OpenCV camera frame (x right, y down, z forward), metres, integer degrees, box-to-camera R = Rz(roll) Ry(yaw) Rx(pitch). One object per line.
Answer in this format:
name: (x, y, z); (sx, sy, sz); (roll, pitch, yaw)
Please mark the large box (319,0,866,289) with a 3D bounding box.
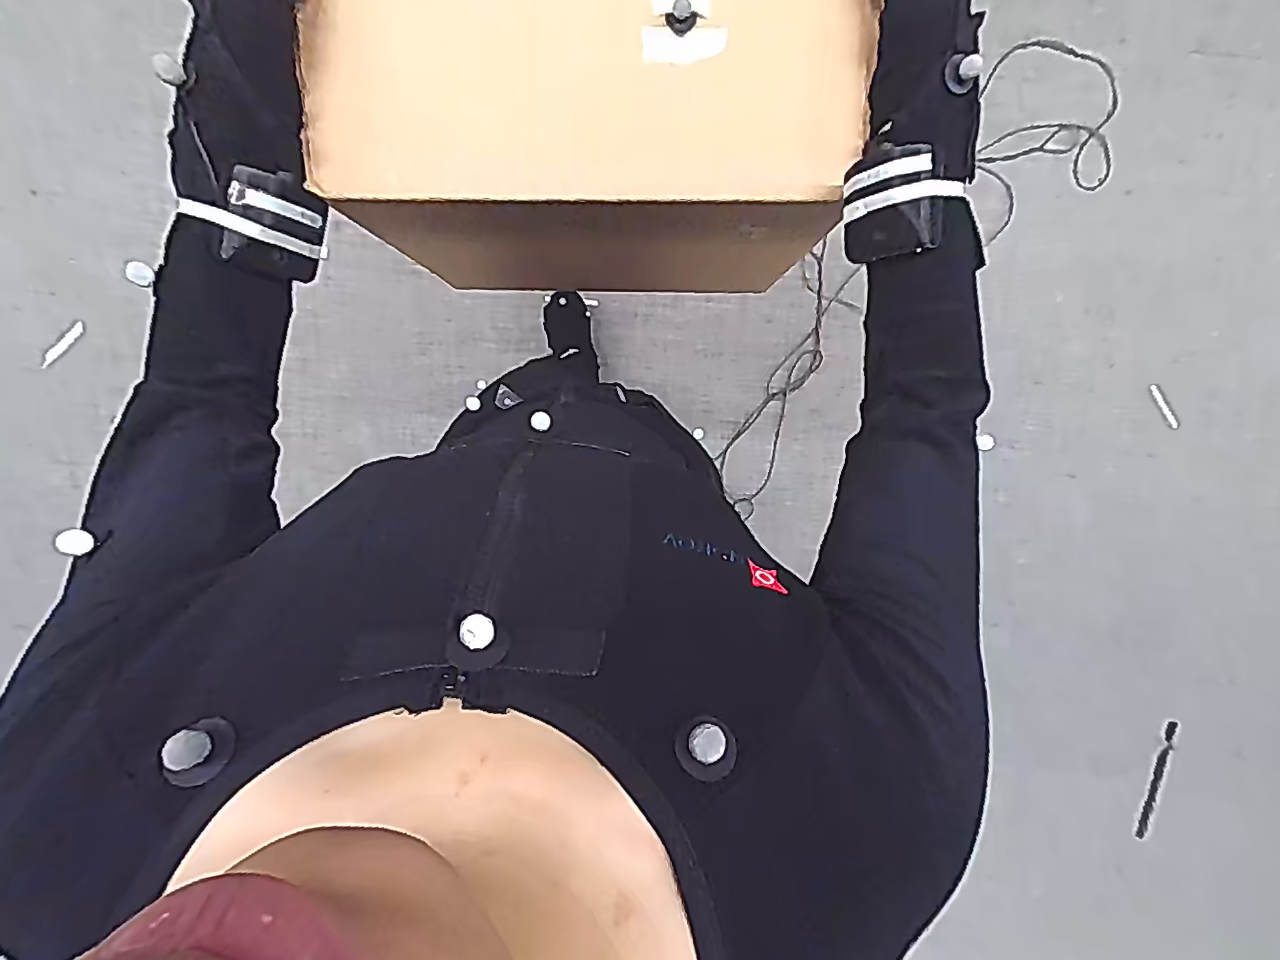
large box: (-0.036, -0.385, 0.537); (0.408, 0.320, 0.320); (0, 97, 0)
